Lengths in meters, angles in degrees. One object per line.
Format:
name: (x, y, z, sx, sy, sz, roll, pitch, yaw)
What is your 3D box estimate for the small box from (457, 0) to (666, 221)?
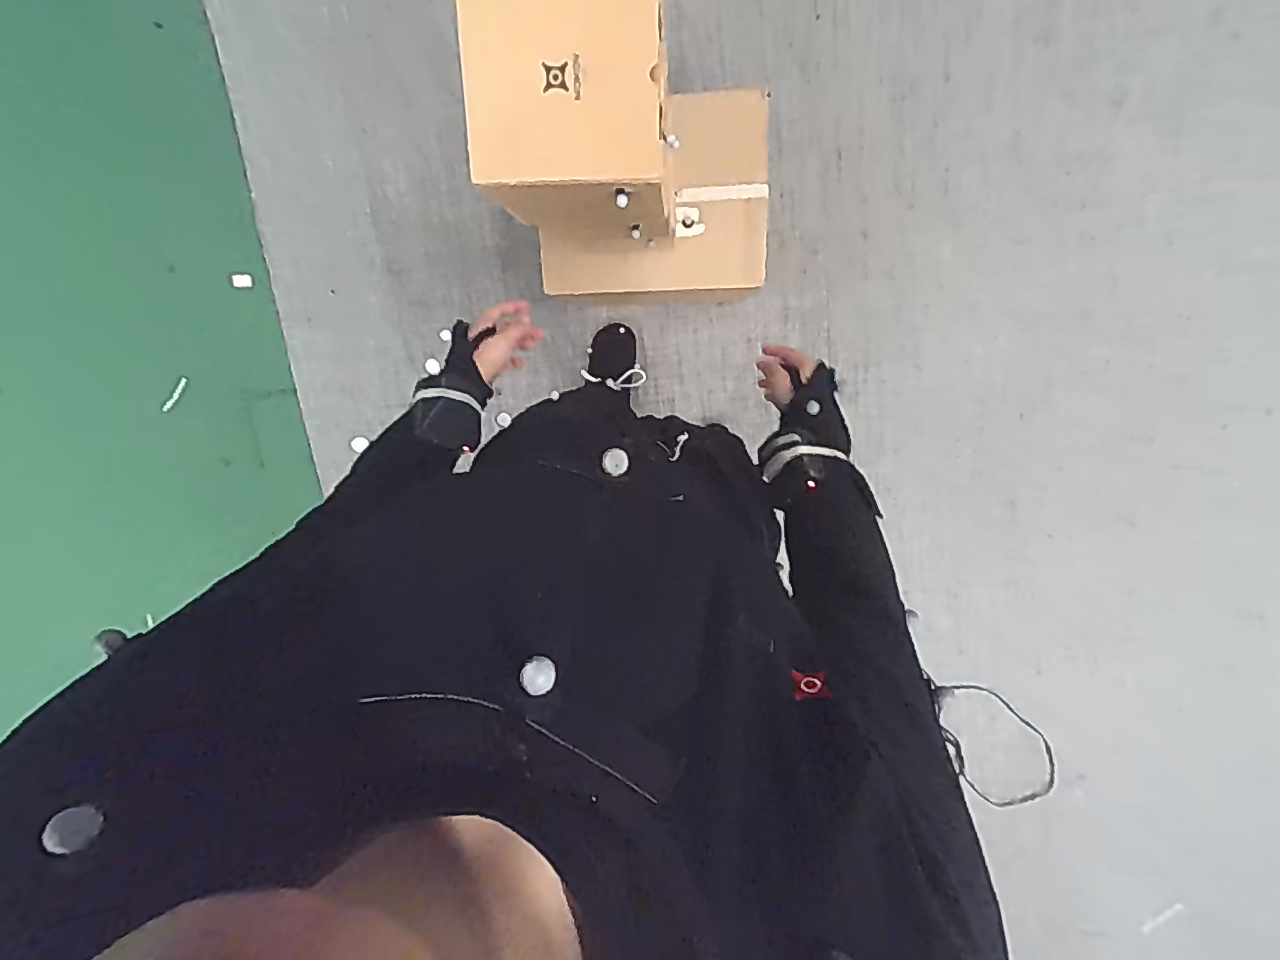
small box: (-0.063, -0.366, 0.541, 0.179, 0.176, 0.168, 0, 104, 2)

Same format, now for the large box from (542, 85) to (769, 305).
large box: (0.028, -0.532, 1.081, 0.408, 0.320, 0.320, -1, 105, 4)

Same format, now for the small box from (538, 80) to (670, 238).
small box: (-0.046, -0.418, 0.695, 0.168, 0.176, 0.179, -2, 103, 3)
